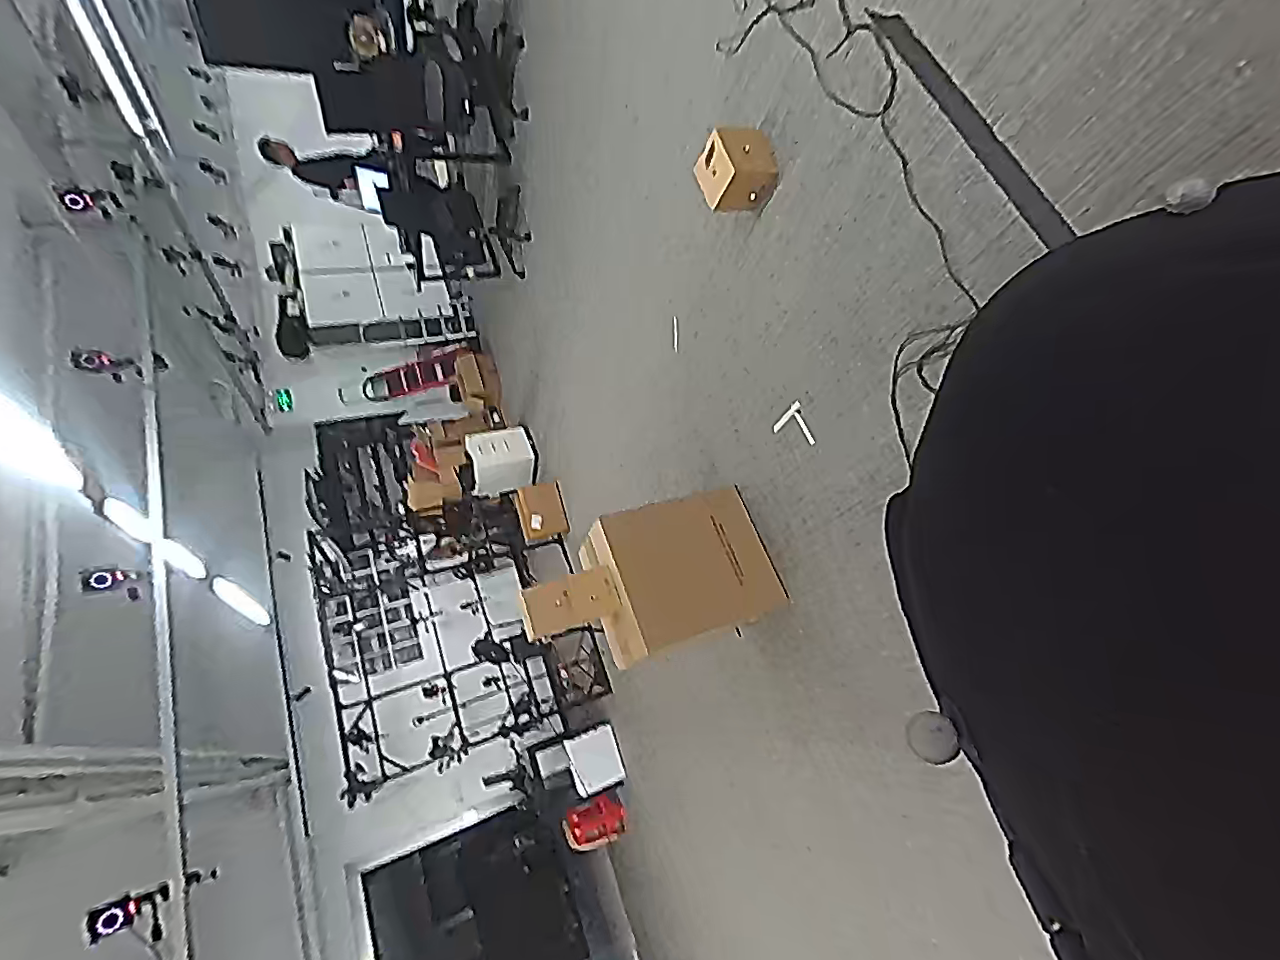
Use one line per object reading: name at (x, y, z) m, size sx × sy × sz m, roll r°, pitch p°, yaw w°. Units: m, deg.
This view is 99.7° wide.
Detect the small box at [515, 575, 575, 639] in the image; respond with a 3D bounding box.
small box at (-0.345, 0.461, 1.957) m, size 0.168 × 0.176 × 0.179 m, roll 69°, pitch 155°, yaw 16°

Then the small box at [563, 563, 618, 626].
small box at (-0.195, 0.425, 2.016) m, size 0.168 × 0.176 × 0.179 m, roll 68°, pitch 155°, yaw 18°

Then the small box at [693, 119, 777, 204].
small box at (0.301, -1.006, 1.718) m, size 0.179 × 0.176 × 0.168 m, roll 70°, pitch 156°, yaw 11°
